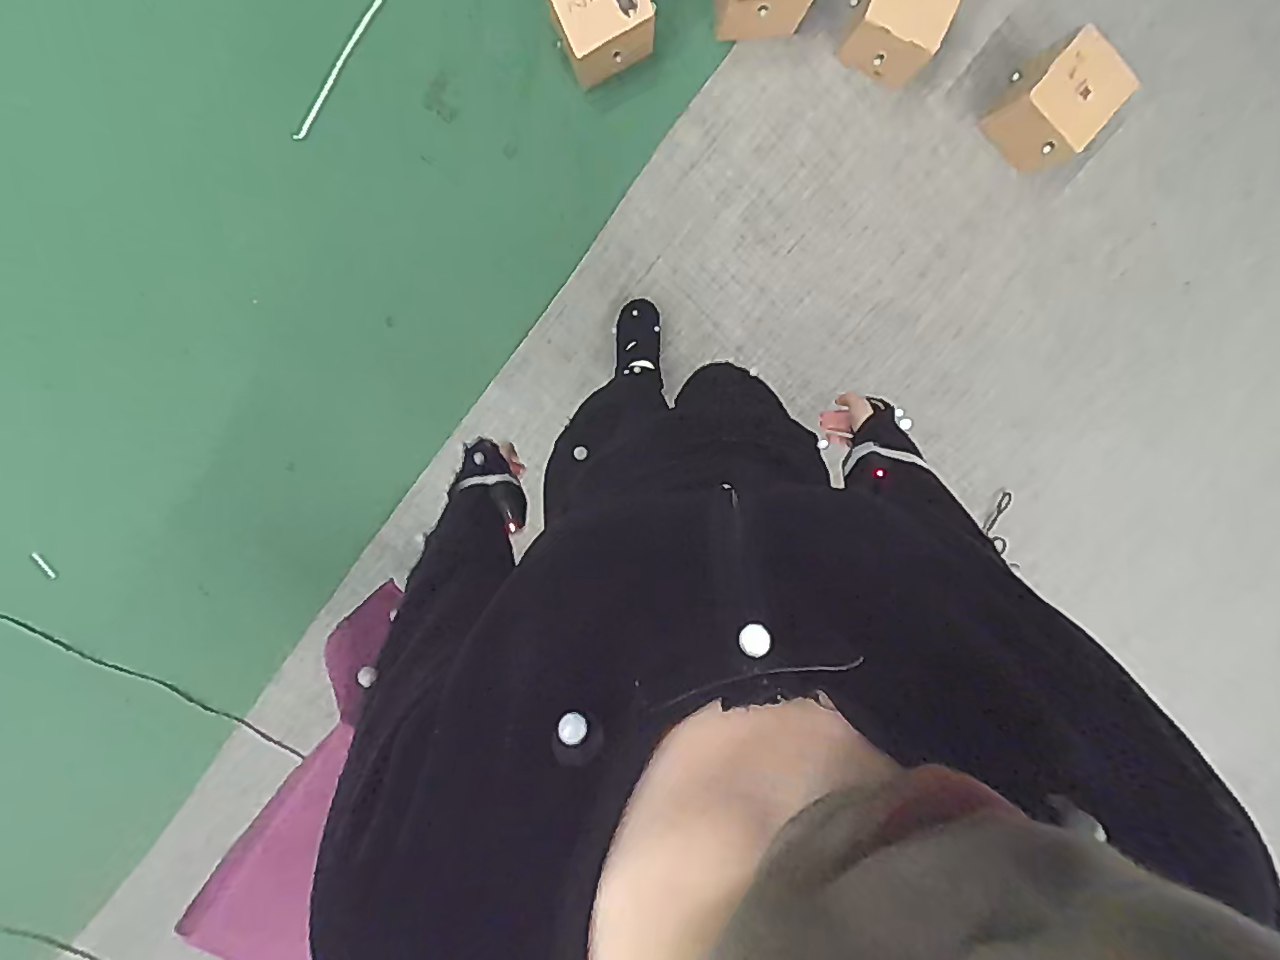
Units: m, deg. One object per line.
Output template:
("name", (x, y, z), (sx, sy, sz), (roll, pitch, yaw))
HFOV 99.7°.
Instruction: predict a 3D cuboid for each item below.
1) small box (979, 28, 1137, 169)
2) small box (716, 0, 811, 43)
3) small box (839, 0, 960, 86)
("small box", (0.904, -0.817, 1.186), (0.179, 0.176, 0.168), (36, 102, -12))
("small box", (0.249, -1.030, 1.104), (0.179, 0.176, 0.168), (-6, 107, -1))
("small box", (0.542, -0.973, 1.130), (0.168, 0.176, 0.179), (20, 106, -7))
